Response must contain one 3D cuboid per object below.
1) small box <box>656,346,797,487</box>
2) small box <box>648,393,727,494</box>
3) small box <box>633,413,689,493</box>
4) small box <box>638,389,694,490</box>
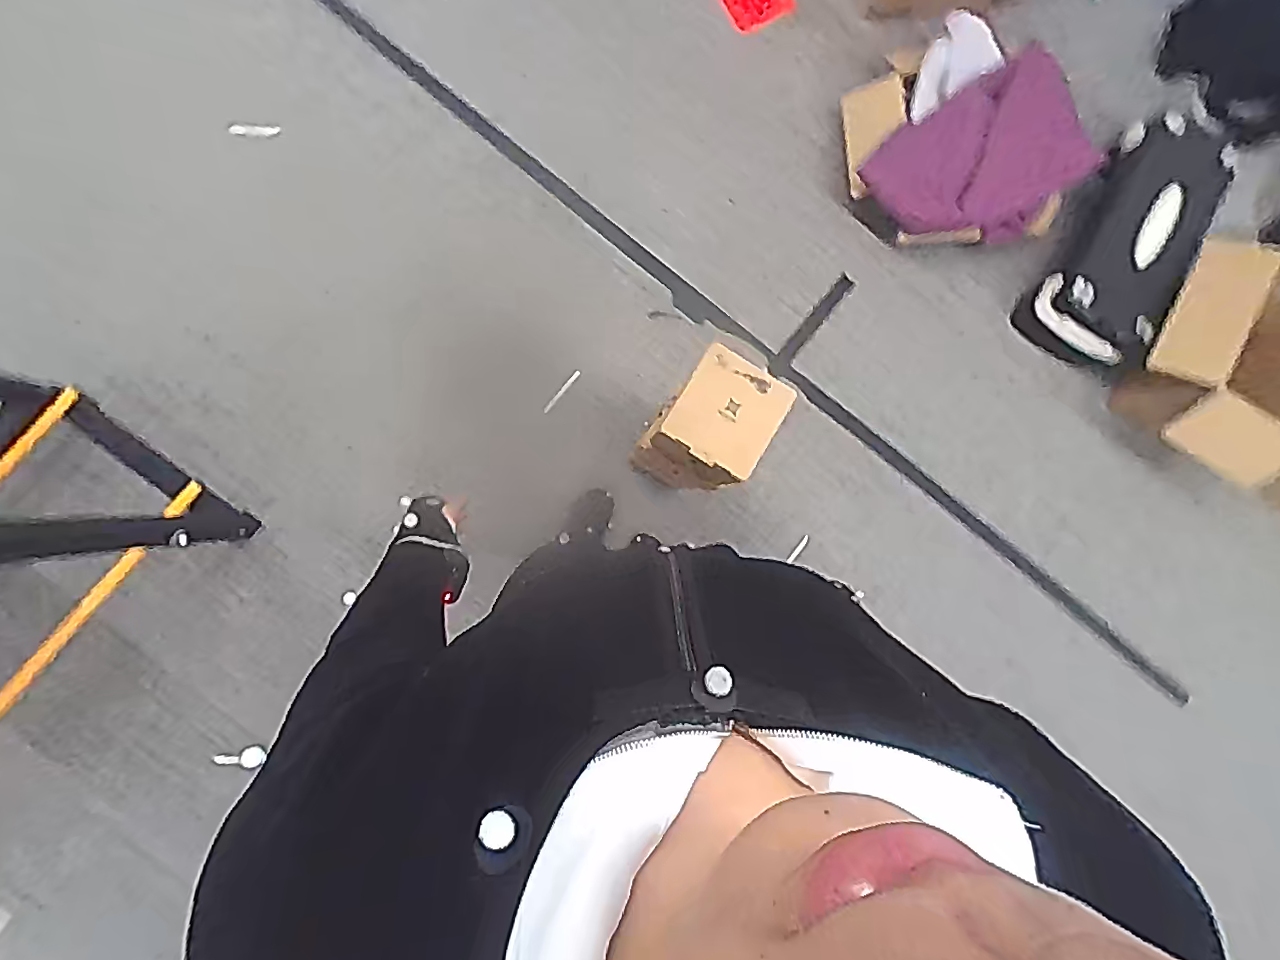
[{"bbox_3d":[0.140,-0.099,0.948,0.168,0.176,0.179,32,86,-2],"label":"small box"},{"bbox_3d":[0.127,-0.084,1.111,0.168,0.176,0.179,31,86,-2],"label":"small box"},{"bbox_3d":[0.091,-0.080,1.439,0.168,0.176,0.179,32,87,-2],"label":"small box"},{"bbox_3d":[0.109,-0.086,1.275,0.179,0.176,0.168,35,86,-2],"label":"small box"}]
